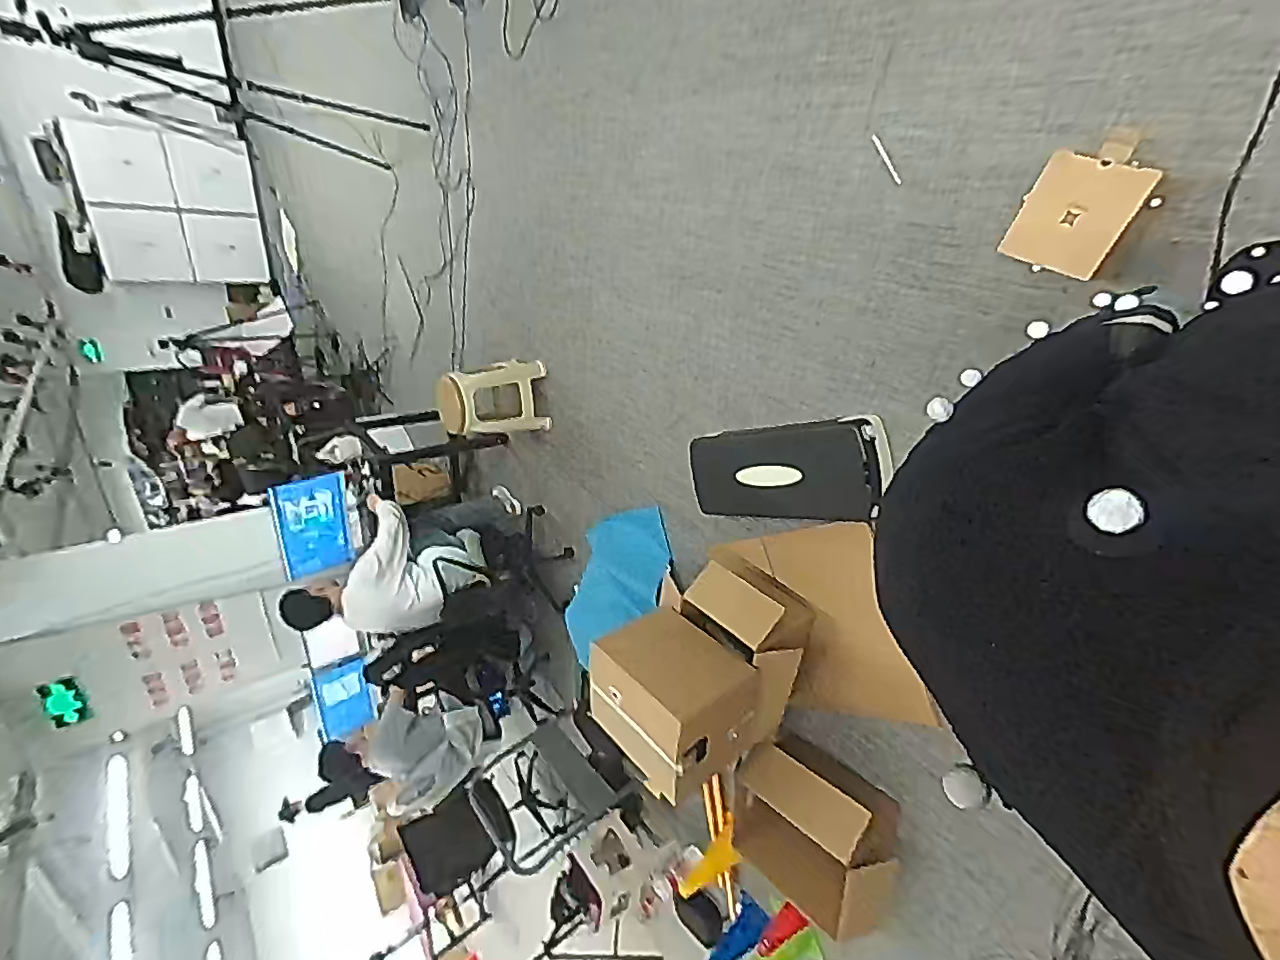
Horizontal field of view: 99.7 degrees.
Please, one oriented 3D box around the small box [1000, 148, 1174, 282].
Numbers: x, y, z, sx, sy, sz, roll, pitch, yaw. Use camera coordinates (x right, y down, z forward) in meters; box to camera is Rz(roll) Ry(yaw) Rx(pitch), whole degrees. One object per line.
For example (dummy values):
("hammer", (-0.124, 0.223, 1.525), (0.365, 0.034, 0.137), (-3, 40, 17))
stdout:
("small box", (0.811, -0.473, 0.981), (0.168, 0.176, 0.179), (42, 131, 34))
